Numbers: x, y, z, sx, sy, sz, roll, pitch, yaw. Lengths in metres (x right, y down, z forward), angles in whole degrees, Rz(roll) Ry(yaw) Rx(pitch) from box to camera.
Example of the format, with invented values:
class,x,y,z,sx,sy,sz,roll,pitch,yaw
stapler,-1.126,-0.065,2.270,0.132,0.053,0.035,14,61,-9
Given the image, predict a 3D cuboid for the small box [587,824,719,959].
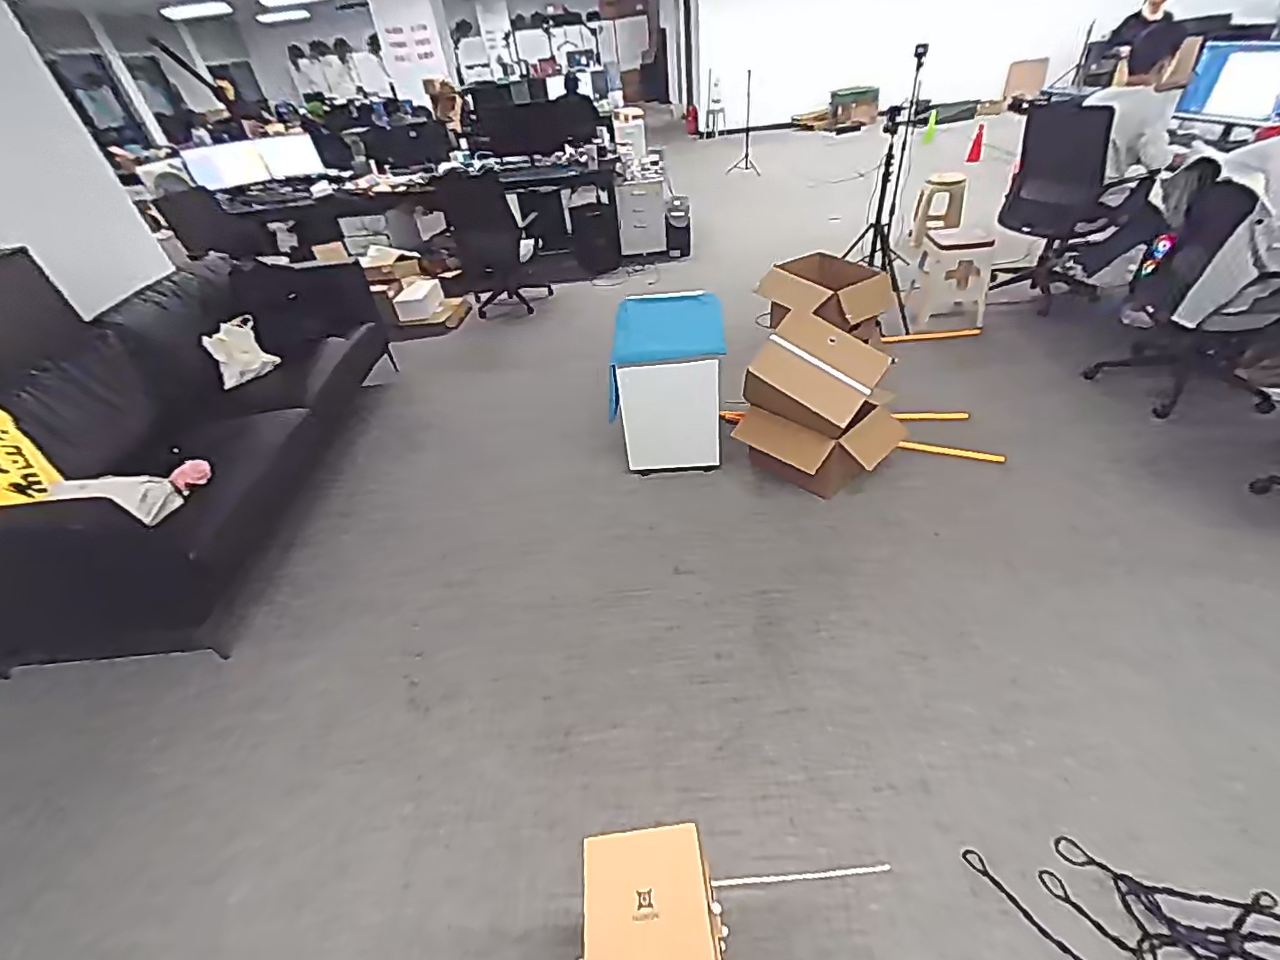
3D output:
class,x,y,z,sx,sy,sz,roll,pitch,yaw
small box,0.020,0.619,0.760,0.168,0.176,0.179,-9,40,1
